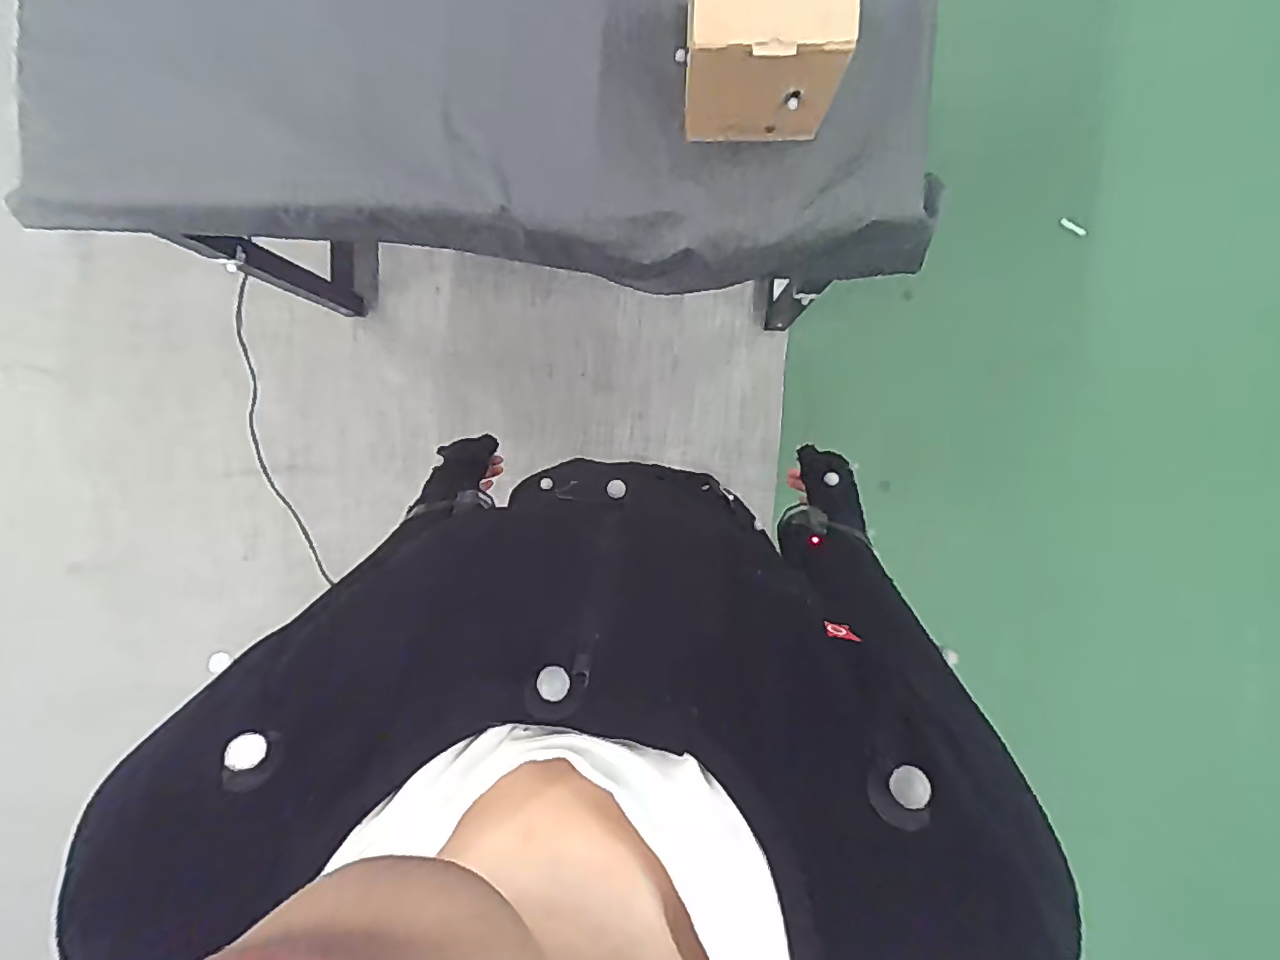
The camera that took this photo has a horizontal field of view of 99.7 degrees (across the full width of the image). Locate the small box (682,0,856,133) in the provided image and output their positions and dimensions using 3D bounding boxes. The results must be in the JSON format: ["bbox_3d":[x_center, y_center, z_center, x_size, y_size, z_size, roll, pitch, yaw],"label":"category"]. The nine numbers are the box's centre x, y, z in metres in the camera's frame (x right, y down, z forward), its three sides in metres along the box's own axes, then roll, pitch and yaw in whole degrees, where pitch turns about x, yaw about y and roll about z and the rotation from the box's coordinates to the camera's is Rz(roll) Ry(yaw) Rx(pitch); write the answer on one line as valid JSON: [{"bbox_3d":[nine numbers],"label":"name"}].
[{"bbox_3d":[0.135,-0.525,0.612,0.168,0.176,0.179,0,92,2],"label":"small box"}]
